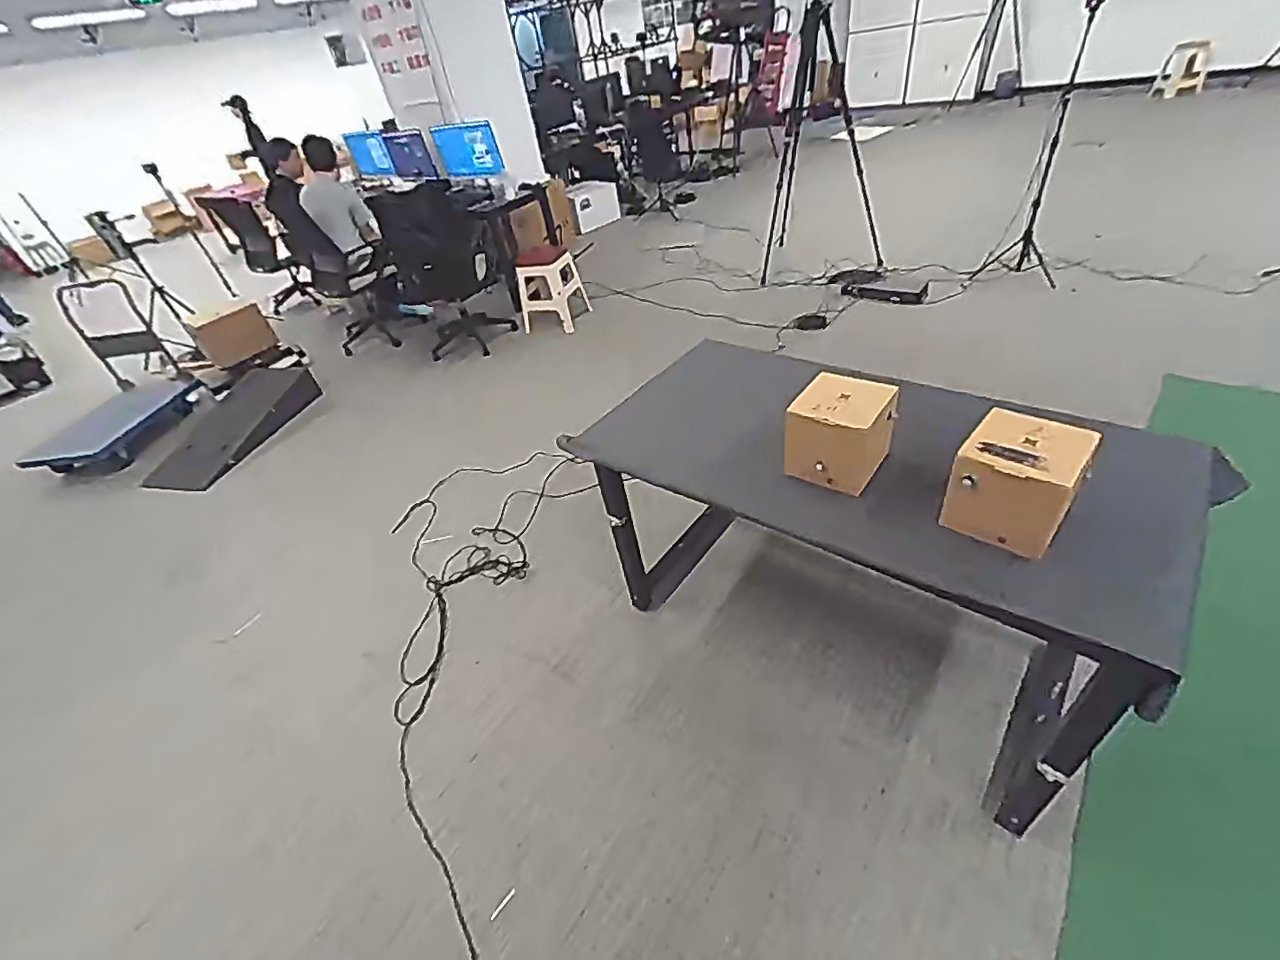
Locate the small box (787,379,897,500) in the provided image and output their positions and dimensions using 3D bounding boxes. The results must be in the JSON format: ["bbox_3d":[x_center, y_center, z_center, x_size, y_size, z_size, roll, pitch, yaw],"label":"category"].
[{"bbox_3d":[0.421,-0.088,1.147,0.168,0.176,0.179,21,48,34],"label":"small box"}]
